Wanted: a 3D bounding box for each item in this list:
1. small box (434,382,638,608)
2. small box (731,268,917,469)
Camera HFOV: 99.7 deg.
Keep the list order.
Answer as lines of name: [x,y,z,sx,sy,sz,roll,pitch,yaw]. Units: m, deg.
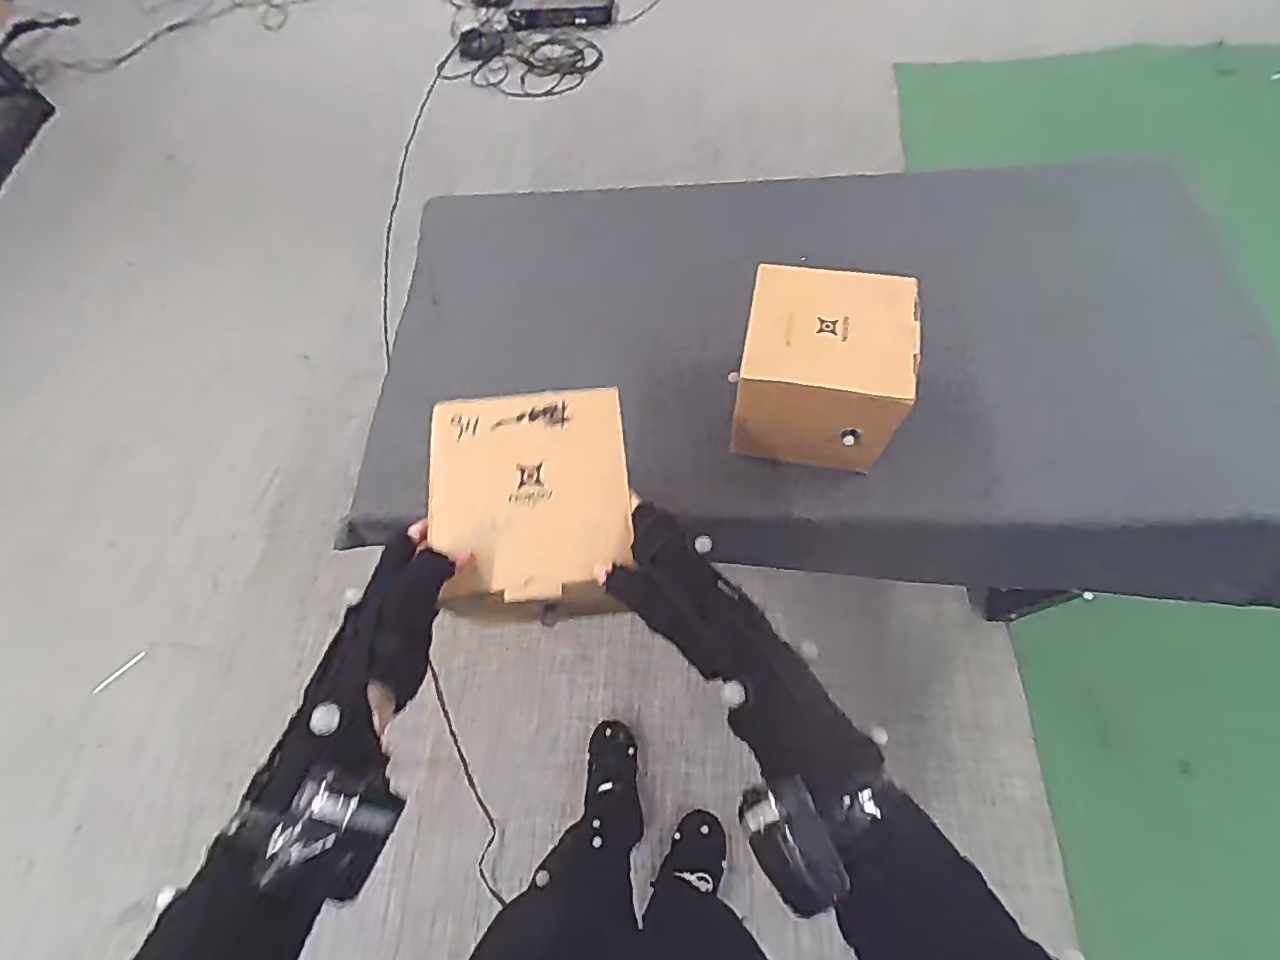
small box: [-0.089,0.026,0.529,0.168,0.176,0.179,-5,69,-3]
small box: [0.214,-0.127,0.658,0.179,0.176,0.168,9,65,10]
